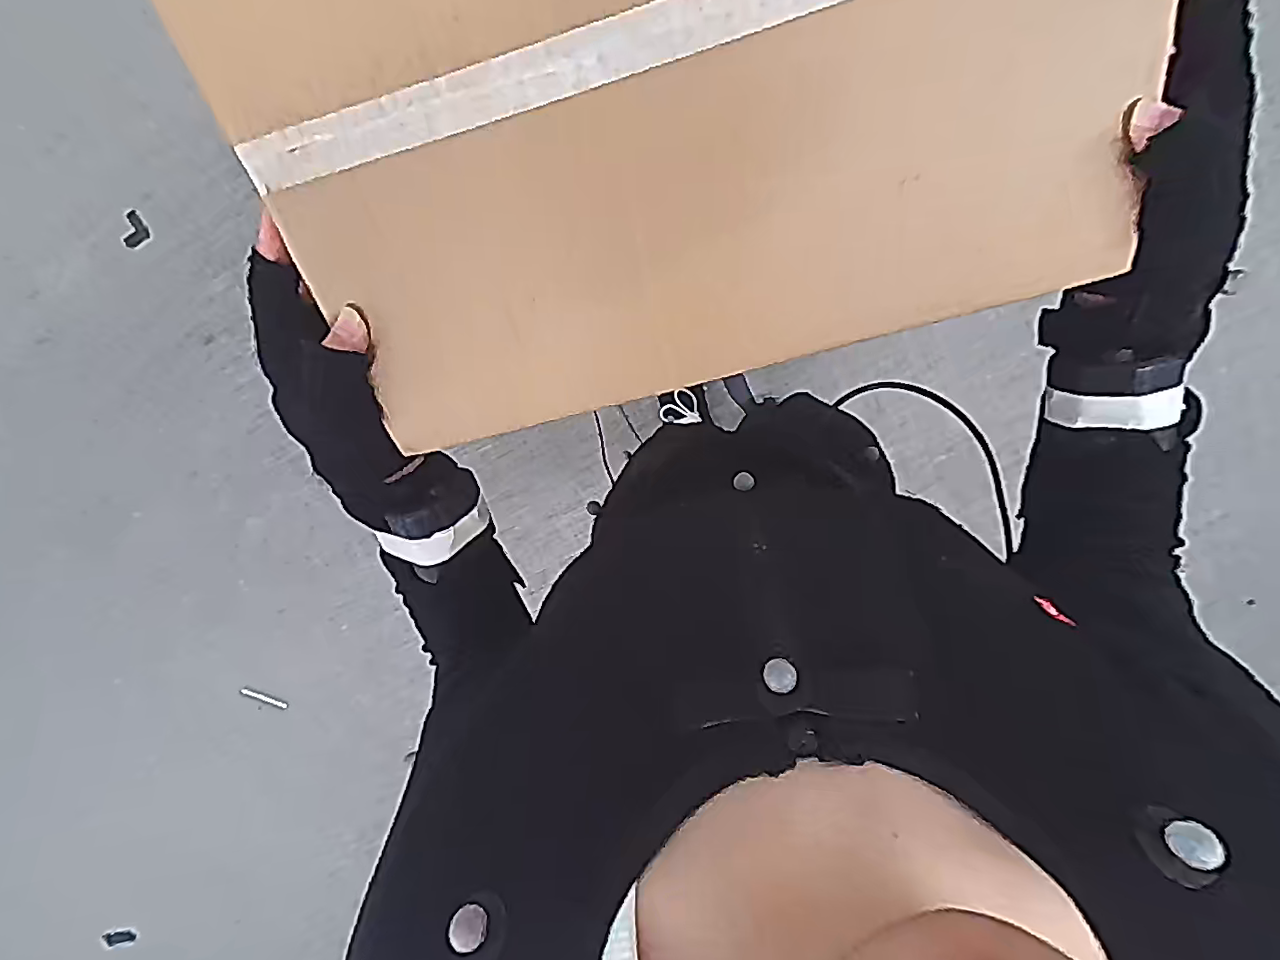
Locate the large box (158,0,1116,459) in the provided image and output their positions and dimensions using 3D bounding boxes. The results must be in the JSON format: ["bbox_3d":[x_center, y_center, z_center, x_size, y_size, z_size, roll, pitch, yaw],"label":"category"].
[{"bbox_3d":[0.006,-0.263,0.371,0.408,0.320,0.320,-14,117,7],"label":"large box"}]
